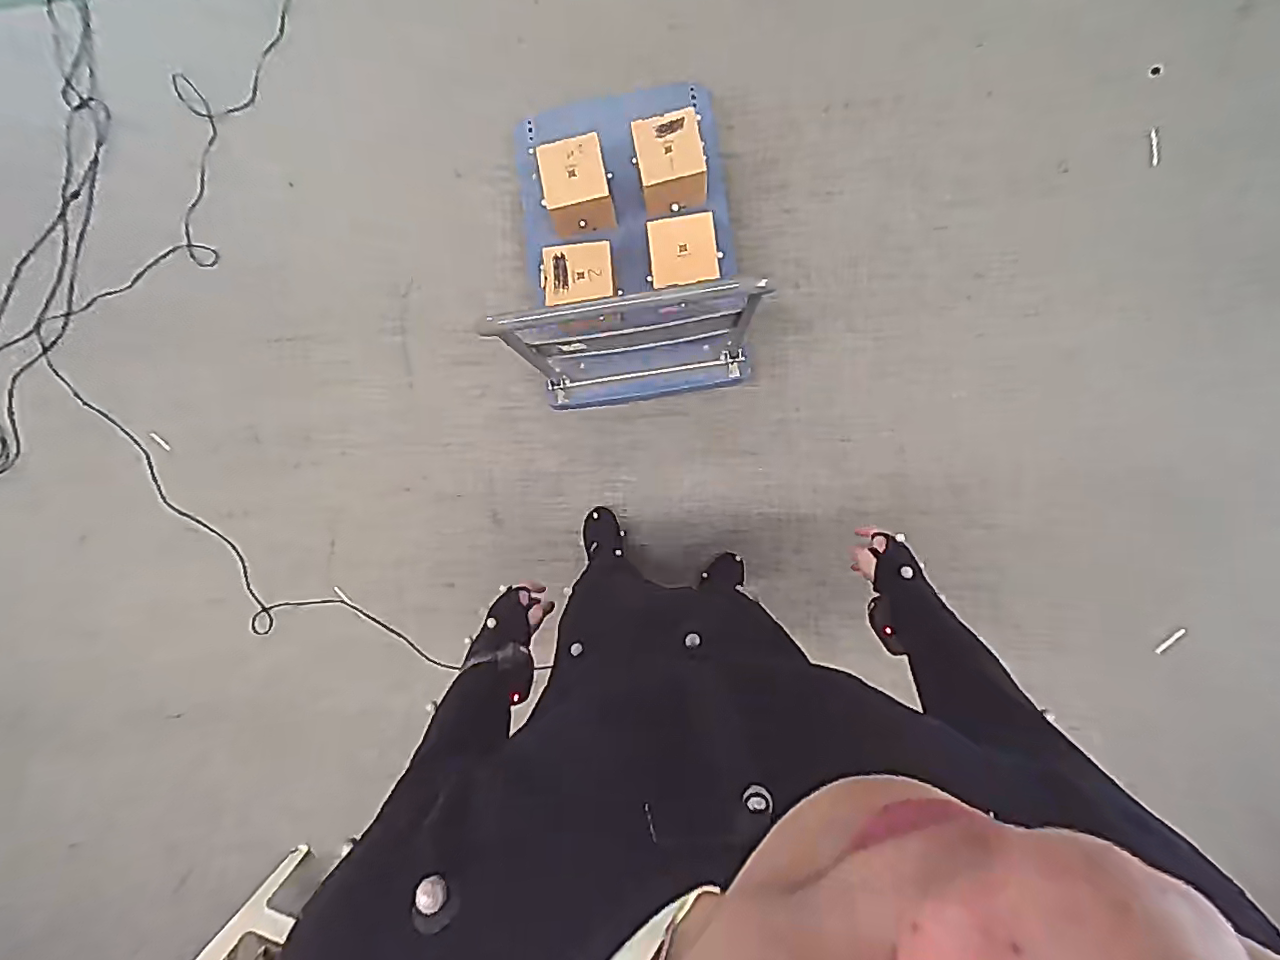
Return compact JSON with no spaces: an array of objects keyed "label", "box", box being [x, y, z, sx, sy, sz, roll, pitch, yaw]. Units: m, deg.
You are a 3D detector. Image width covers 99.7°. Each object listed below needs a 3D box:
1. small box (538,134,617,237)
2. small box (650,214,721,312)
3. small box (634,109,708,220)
[{"label":"small box","box":[-0.163,-0.782,1.459,0.168,0.176,0.179,-11,86,4]},{"label":"small box","box":[0.118,-0.564,1.422,0.168,0.176,0.179,-6,87,5]},{"label":"small box","box":[0.084,-0.832,1.438,0.168,0.176,0.179,-11,87,6]}]
